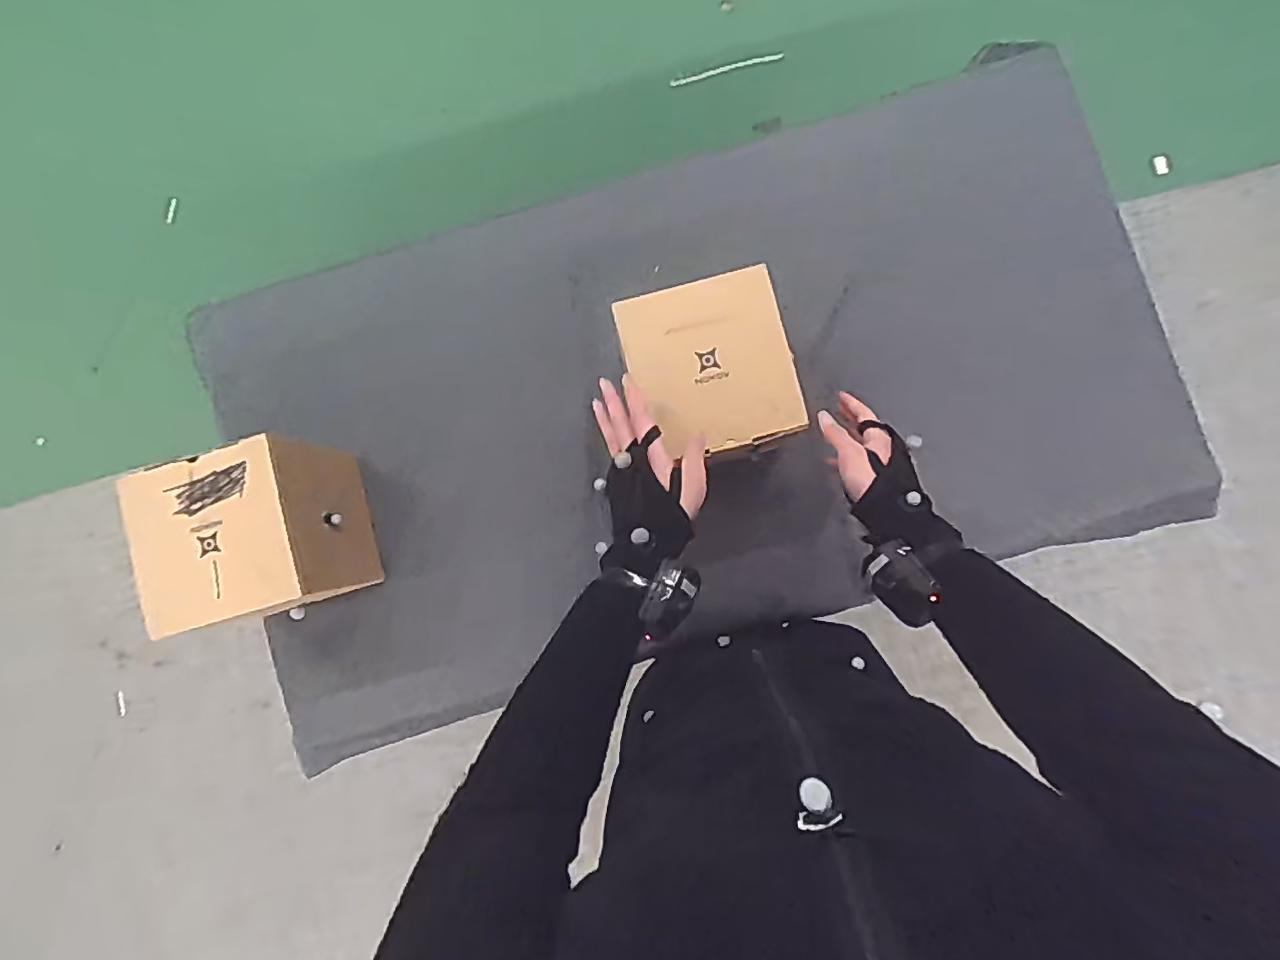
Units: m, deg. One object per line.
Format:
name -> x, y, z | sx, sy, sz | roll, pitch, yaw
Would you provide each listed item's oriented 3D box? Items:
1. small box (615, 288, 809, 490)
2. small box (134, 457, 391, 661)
small box -> 0.076, -0.091, 0.635 | 0.168, 0.176, 0.179 | -15, 84, 0
small box -> -0.425, 0.088, 0.635 | 0.168, 0.176, 0.179 | -17, 85, 1
